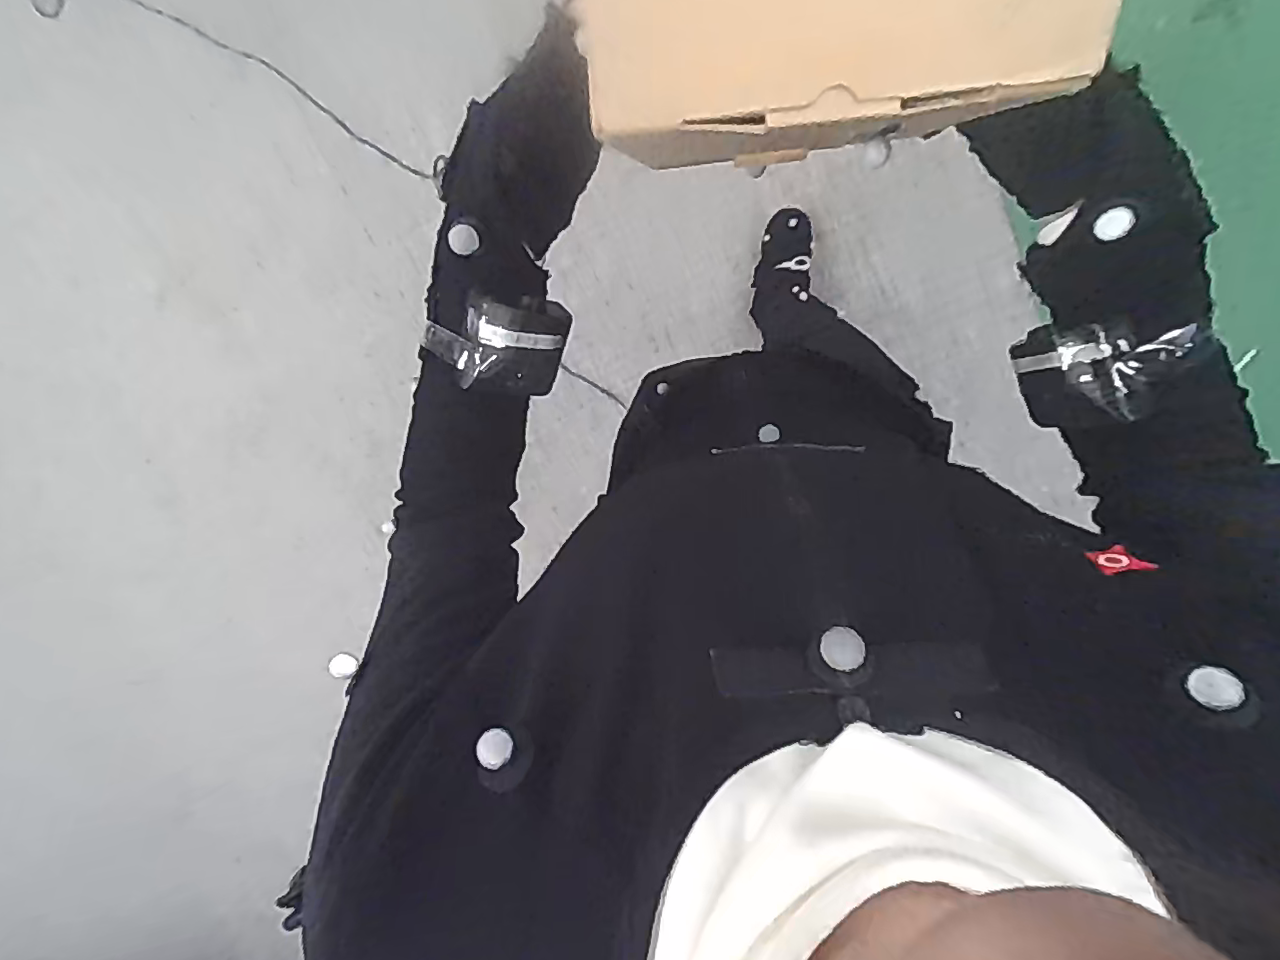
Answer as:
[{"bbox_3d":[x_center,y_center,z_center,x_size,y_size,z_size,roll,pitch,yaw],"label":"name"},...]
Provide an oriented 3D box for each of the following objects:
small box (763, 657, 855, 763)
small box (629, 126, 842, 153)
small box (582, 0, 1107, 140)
[{"bbox_3d":[0.441,0.610,1.448,0.179,0.176,0.168,-26,103,11],"label":"small box"},{"bbox_3d":[0.073,-0.326,0.357,0.168,0.176,0.179,-4,118,6],"label":"small box"},{"bbox_3d":[0.064,-0.246,0.214,0.168,0.176,0.179,-3,116,5],"label":"small box"}]
